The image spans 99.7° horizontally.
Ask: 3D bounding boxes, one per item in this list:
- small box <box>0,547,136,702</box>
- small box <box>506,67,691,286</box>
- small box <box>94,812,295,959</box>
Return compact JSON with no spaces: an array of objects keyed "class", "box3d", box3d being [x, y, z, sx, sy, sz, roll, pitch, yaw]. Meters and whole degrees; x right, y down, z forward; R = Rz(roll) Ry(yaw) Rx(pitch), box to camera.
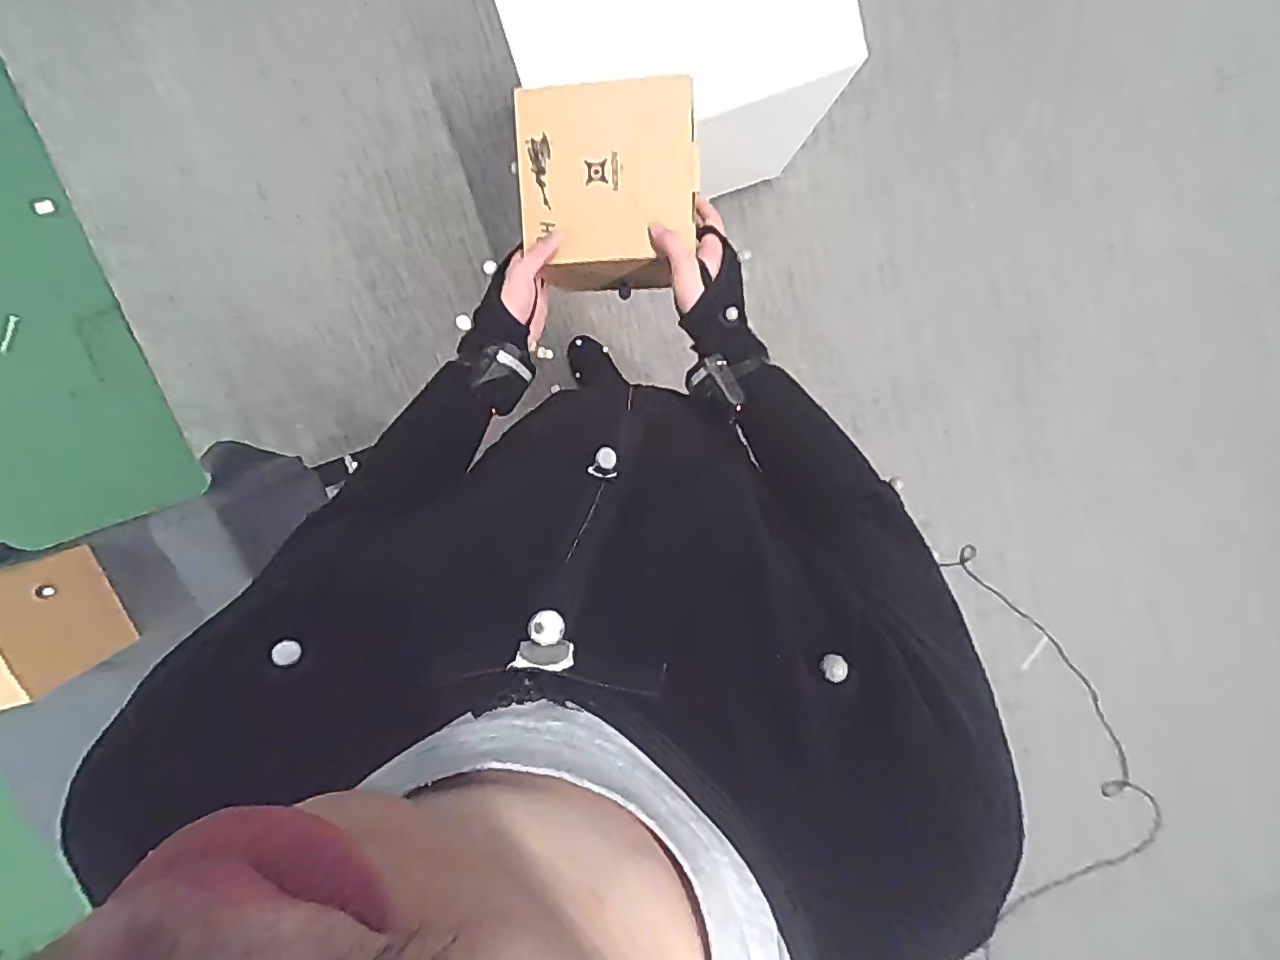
[{"class":"small box","box3d":[-0.928,0.213,0.802,0.168,0.176,0.179,-16,104,6]},{"class":"small box","box3d":[-0.035,-0.316,0.597,0.179,0.176,0.168,0,99,4]},{"class":"small box","box3d":[-0.739,0.716,0.922,0.168,0.176,0.179,-17,102,5]}]
